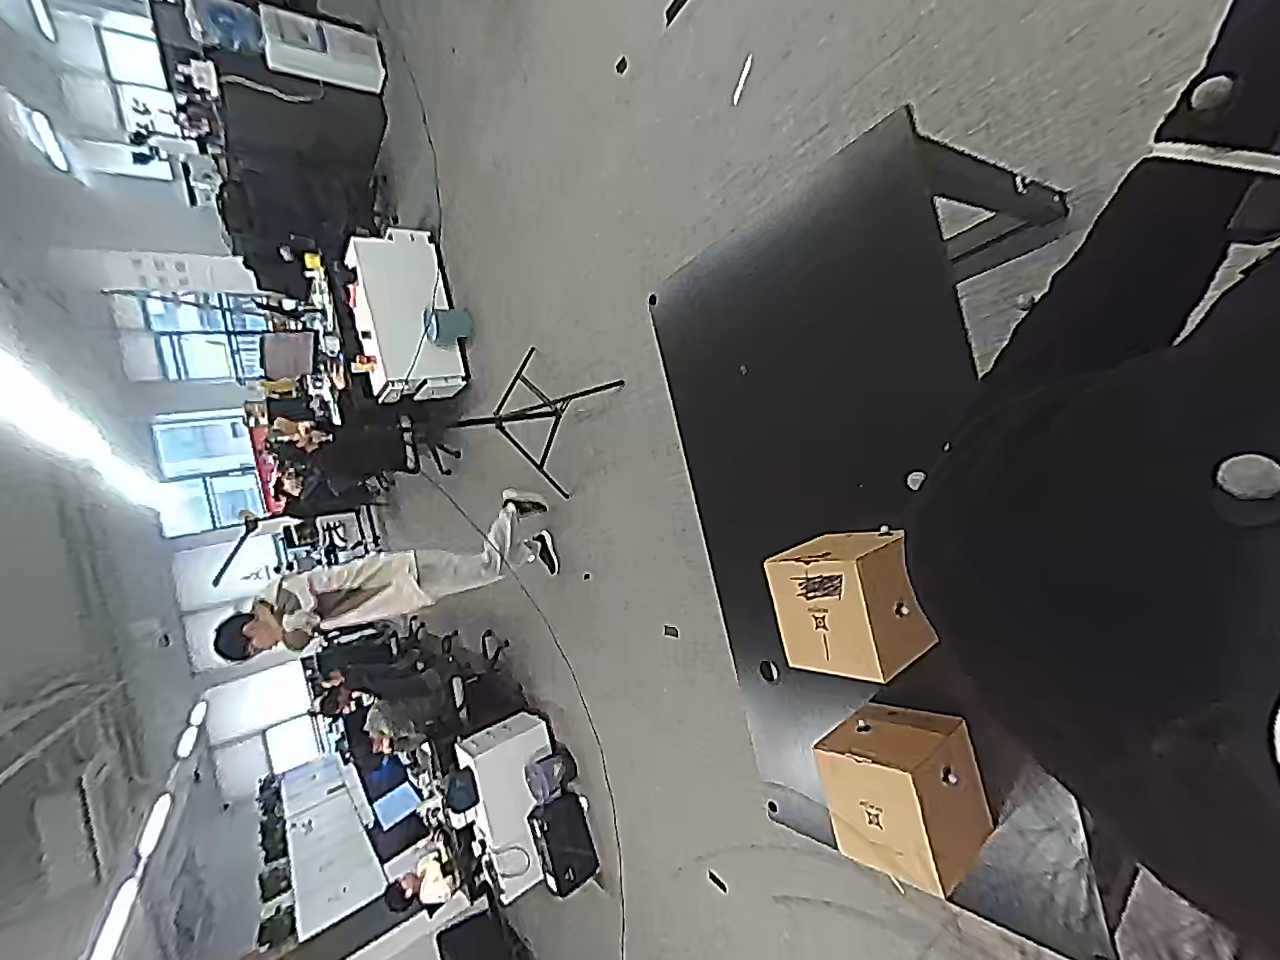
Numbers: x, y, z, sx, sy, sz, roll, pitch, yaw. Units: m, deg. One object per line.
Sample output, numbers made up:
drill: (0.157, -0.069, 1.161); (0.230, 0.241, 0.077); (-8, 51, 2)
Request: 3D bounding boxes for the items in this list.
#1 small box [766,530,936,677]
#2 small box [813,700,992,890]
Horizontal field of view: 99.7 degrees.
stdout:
small box: (0.329, 0.179, 0.844); (0.168, 0.176, 0.179); (-13, 91, 54)
small box: (0.404, 0.464, 0.835); (0.168, 0.176, 0.179); (-18, 86, 55)
